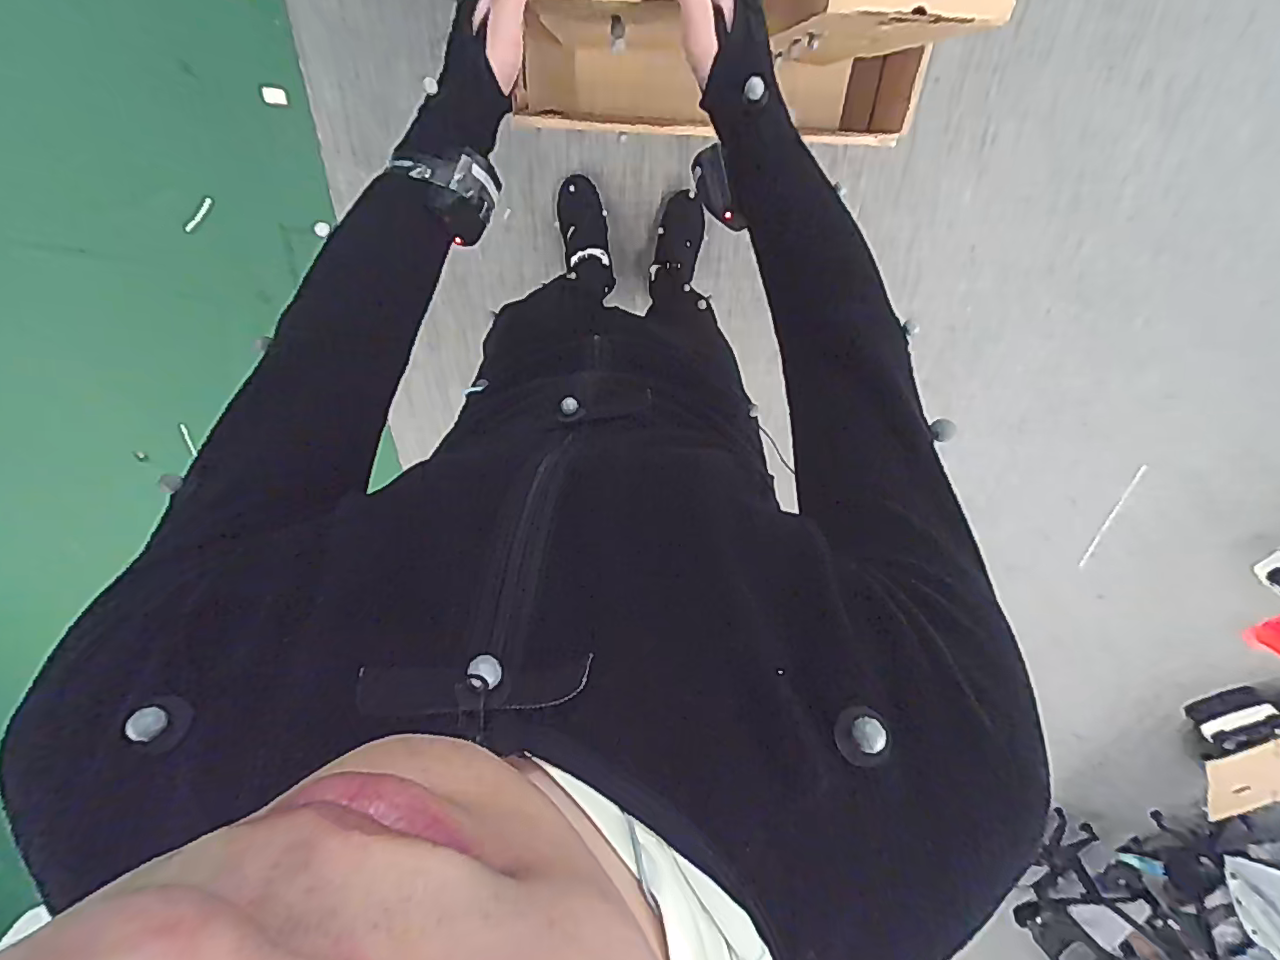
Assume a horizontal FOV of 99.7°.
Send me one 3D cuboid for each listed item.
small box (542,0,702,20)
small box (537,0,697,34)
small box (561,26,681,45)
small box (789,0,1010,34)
[{"bbox_3d":[-0.022,-0.531,0.473,0.168,0.176,0.179,0,125,-1],"label":"small box"},{"bbox_3d":[-0.027,-0.621,0.612,0.179,0.176,0.168,-1,125,-1],"label":"small box"},{"bbox_3d":[-0.031,-0.715,0.746,0.179,0.176,0.168,0,125,-3],"label":"small box"},{"bbox_3d":[0.242,-0.524,0.485,0.168,0.176,0.179,2,124,-3],"label":"small box"}]
